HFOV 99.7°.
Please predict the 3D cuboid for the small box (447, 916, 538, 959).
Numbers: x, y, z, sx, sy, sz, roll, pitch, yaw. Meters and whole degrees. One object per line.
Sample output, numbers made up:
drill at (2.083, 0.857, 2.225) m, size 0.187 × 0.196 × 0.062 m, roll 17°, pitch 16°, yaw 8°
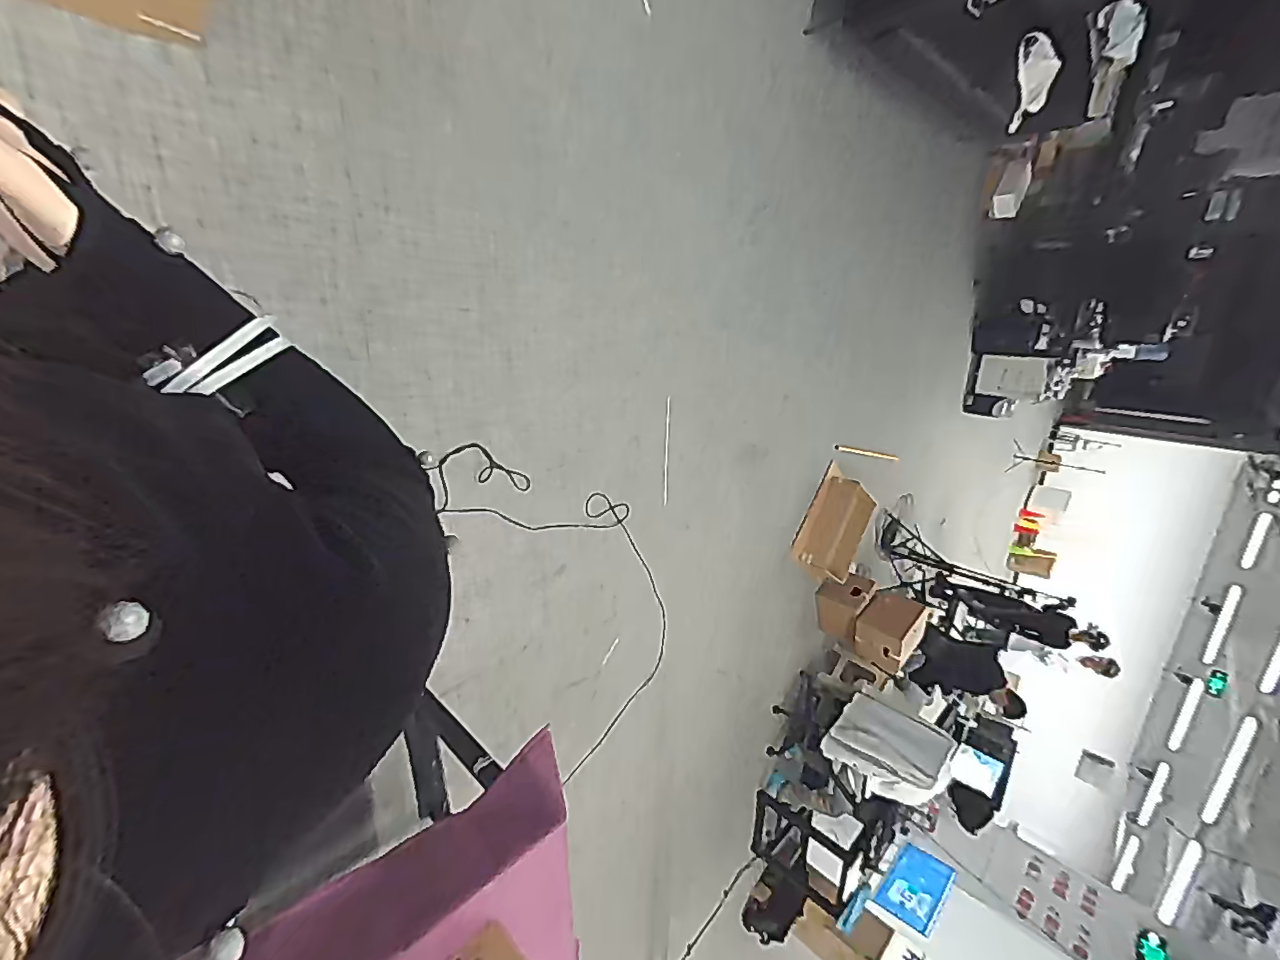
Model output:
small box at (-0.295, 1.061, 1.106) m, size 0.168 × 0.176 × 0.179 m, roll -18°, pitch 116°, yaw -42°
